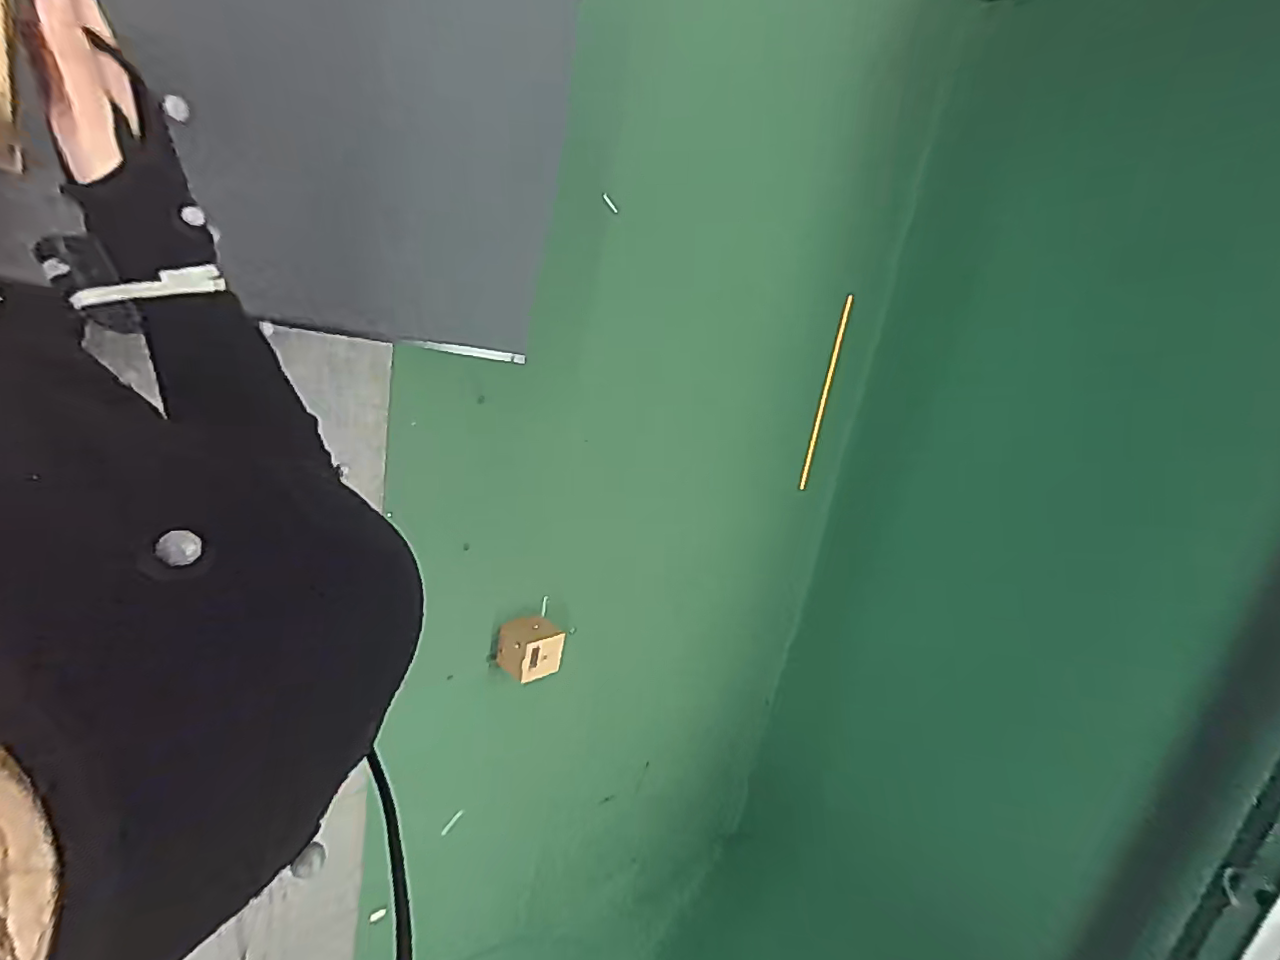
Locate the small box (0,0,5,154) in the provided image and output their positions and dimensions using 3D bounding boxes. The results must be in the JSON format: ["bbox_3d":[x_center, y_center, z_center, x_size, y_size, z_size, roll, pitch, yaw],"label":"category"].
[{"bbox_3d":[-0.532,-0.333,0.340,0.168,0.176,0.179,-1,108,-48],"label":"small box"}]
